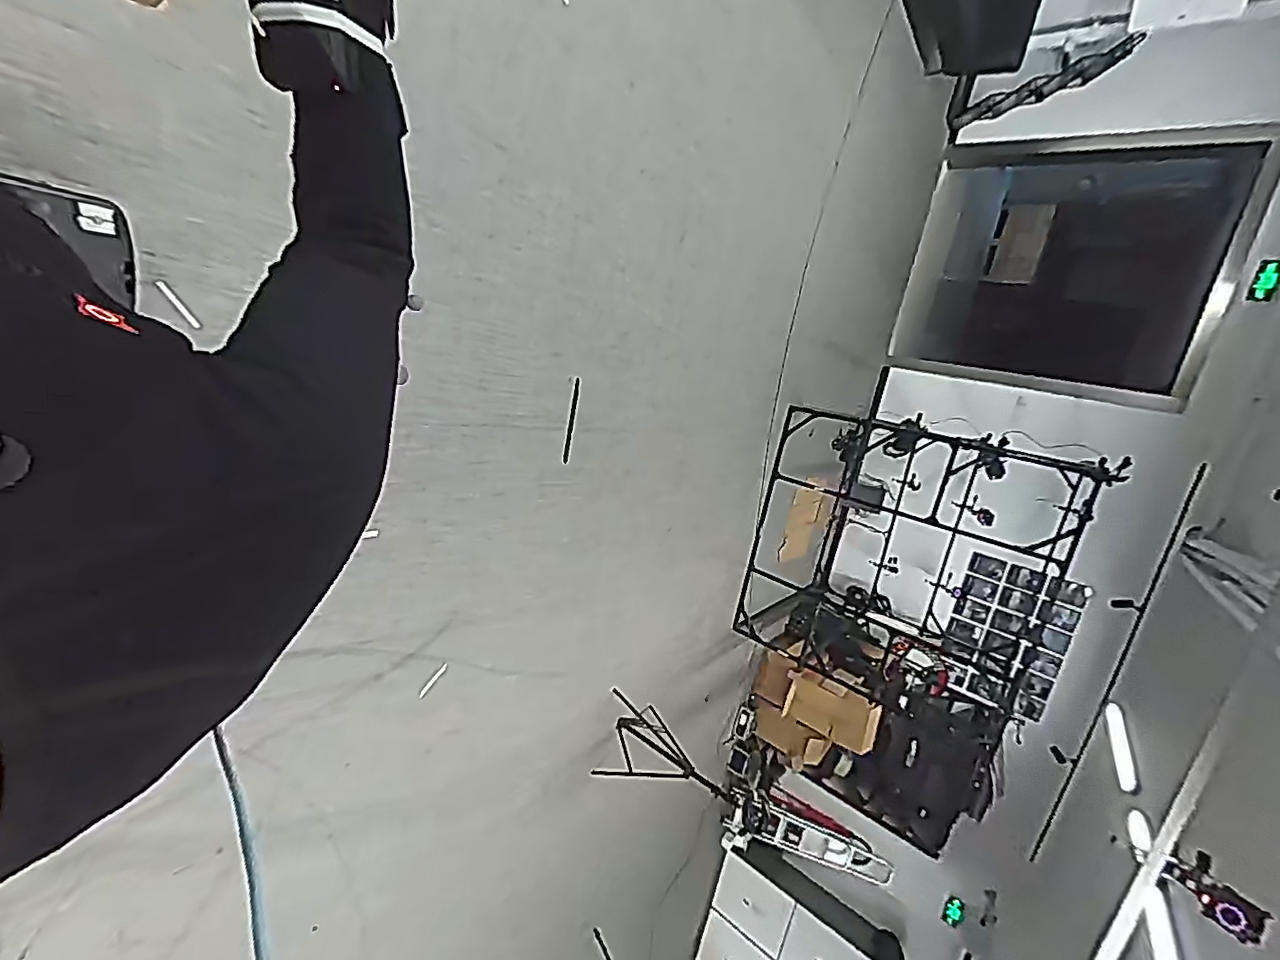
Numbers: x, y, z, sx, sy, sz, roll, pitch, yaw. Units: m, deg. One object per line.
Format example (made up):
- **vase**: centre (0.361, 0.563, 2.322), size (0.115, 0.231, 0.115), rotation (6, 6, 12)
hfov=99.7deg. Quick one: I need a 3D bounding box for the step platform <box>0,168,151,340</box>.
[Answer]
- **step platform**: centre (-1.268, -0.415, 0.891), size (0.684, 0.204, 0.286), rotation (-8, 113, -53)
